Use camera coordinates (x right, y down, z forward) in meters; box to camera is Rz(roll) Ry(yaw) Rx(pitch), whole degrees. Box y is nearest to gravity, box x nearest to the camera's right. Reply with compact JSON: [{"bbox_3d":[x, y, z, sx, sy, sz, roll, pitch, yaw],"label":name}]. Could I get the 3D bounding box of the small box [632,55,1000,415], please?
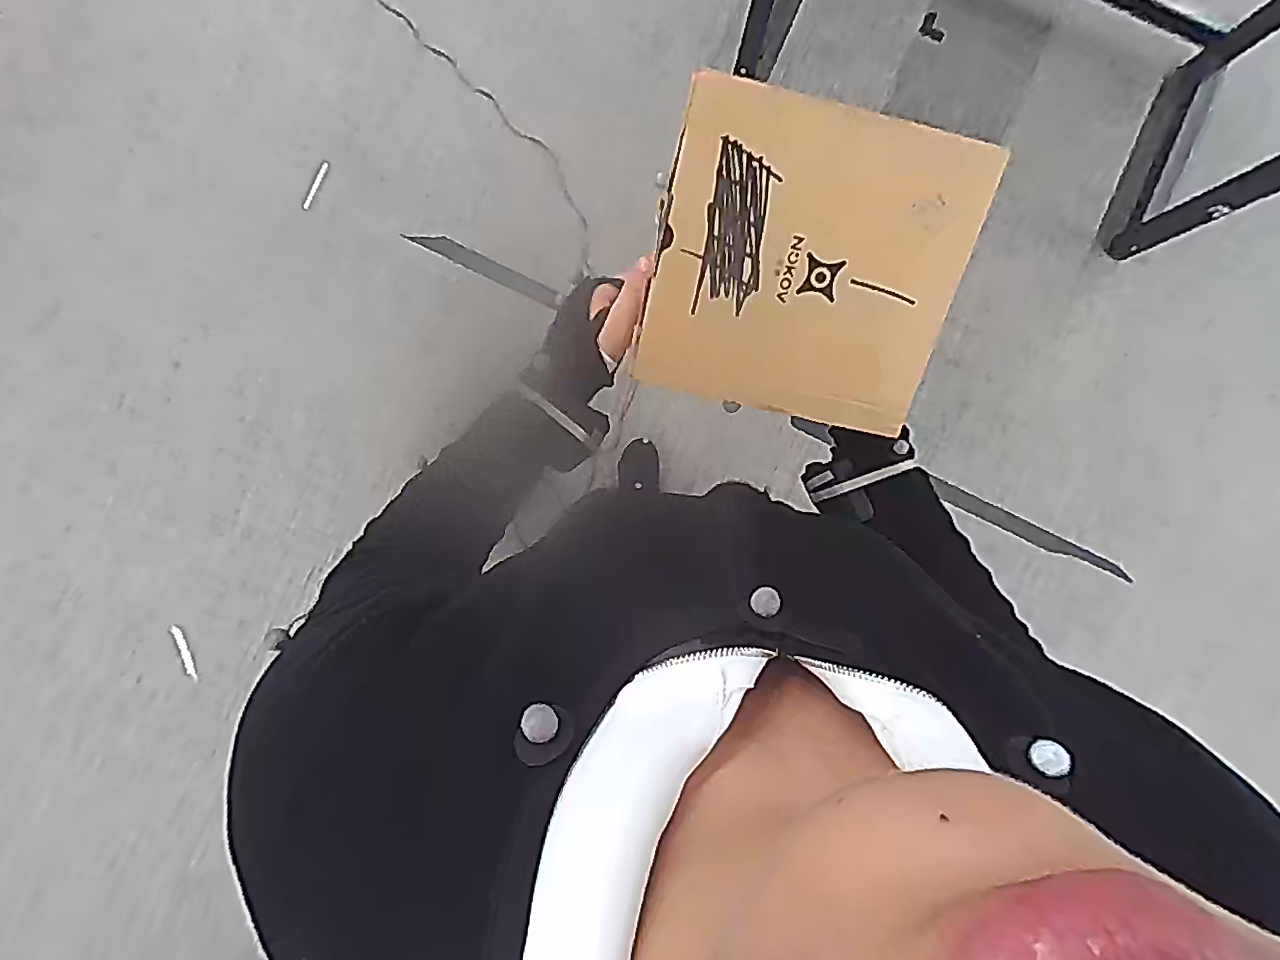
[{"bbox_3d":[0.098,-0.160,0.392,0.179,0.176,0.168,12,109,-4],"label":"small box"}]
